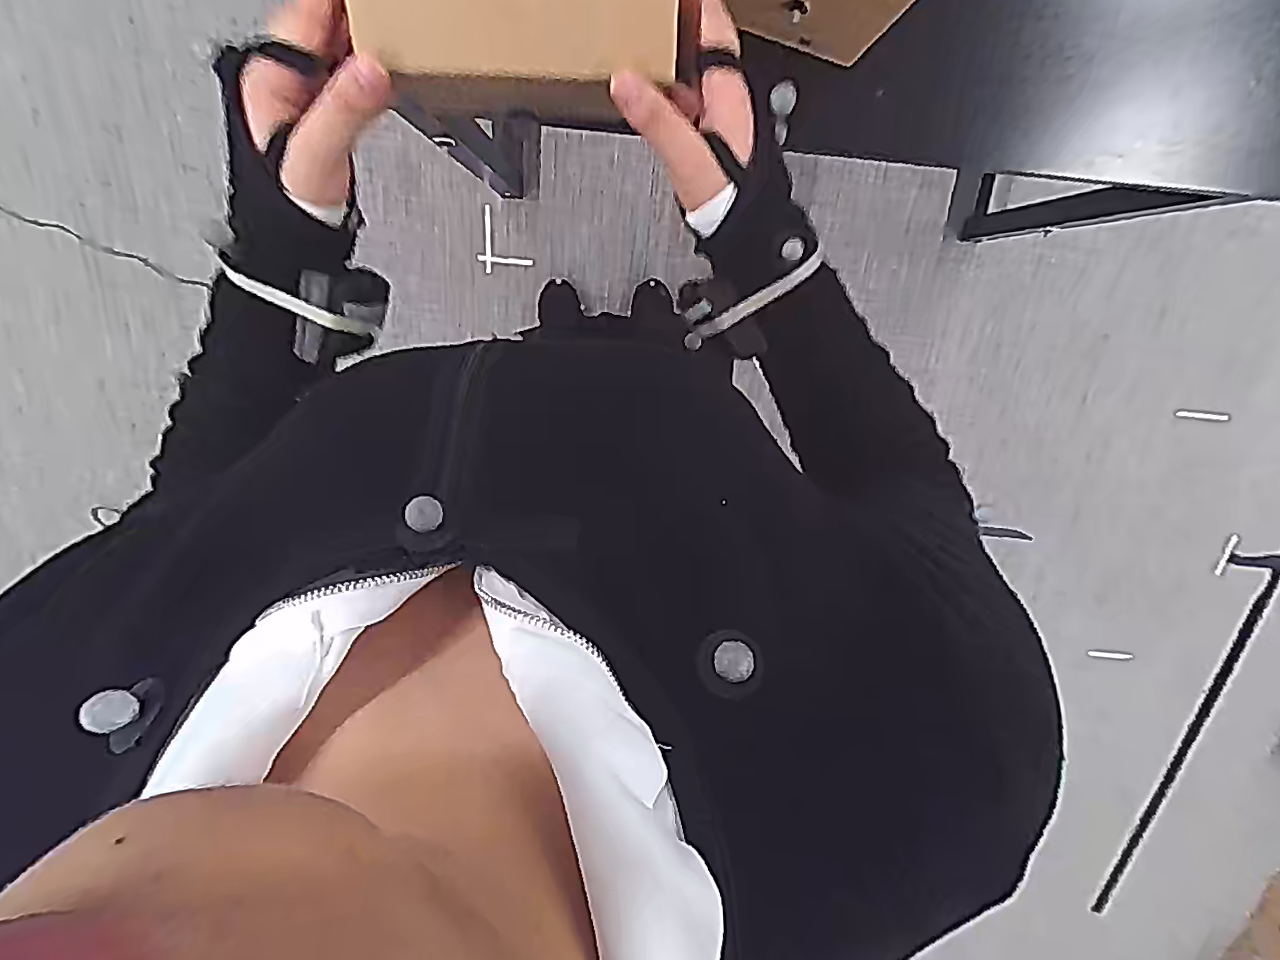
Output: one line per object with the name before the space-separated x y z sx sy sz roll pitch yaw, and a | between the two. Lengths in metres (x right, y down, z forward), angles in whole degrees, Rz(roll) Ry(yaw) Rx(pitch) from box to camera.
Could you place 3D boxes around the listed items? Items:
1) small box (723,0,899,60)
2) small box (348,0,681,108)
small box | 0.182 -0.540 0.501 0.168 0.176 0.179 14 107 -7
small box | -0.066 -0.332 0.308 0.168 0.176 0.179 -1 118 -5
